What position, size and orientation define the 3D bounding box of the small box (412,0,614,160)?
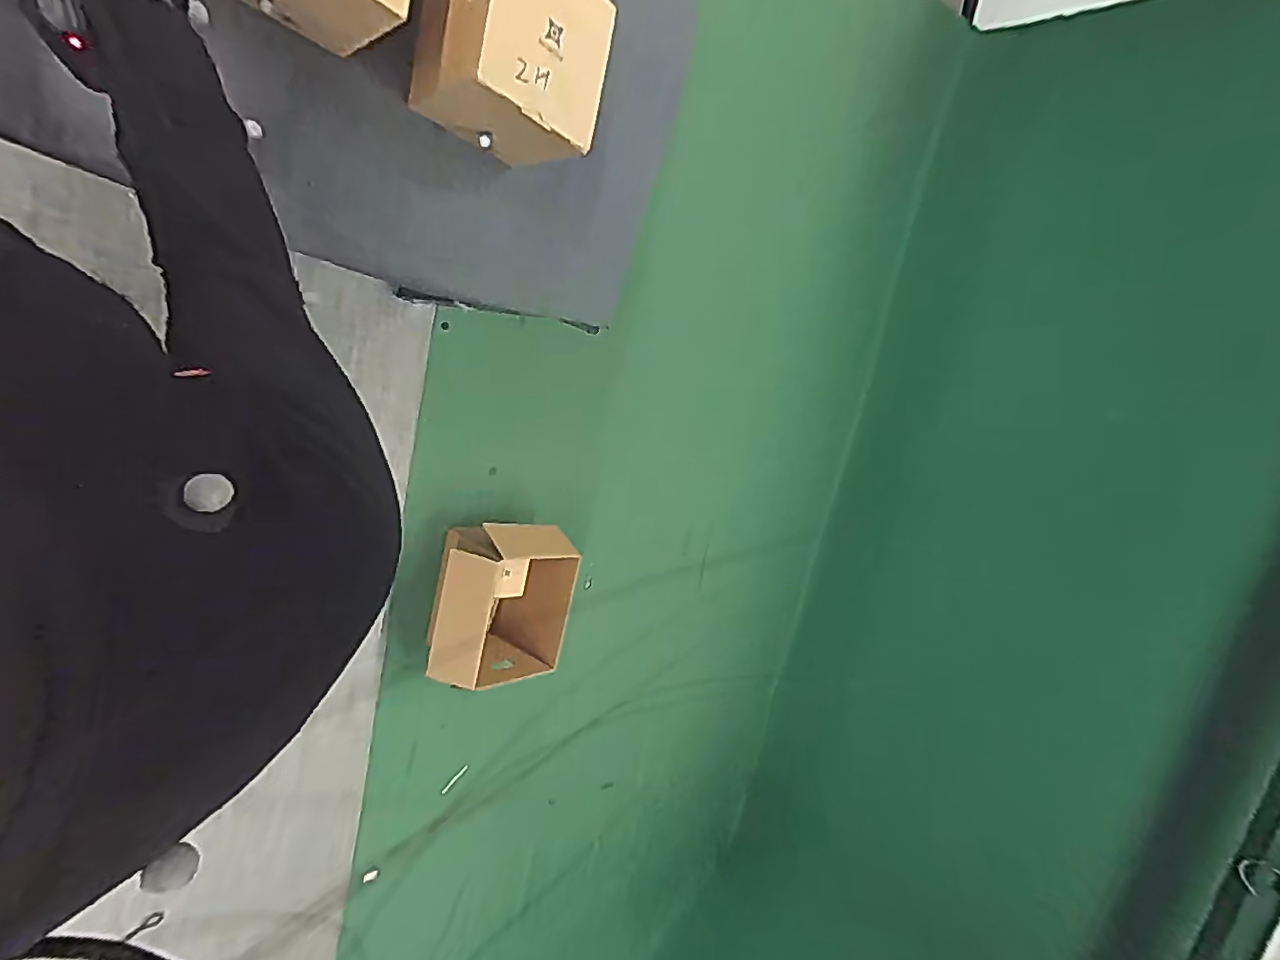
[{"bbox_3d":[-0.162,-0.532,0.673,0.168,0.176,0.179,4,102,-48],"label":"small box"}]
